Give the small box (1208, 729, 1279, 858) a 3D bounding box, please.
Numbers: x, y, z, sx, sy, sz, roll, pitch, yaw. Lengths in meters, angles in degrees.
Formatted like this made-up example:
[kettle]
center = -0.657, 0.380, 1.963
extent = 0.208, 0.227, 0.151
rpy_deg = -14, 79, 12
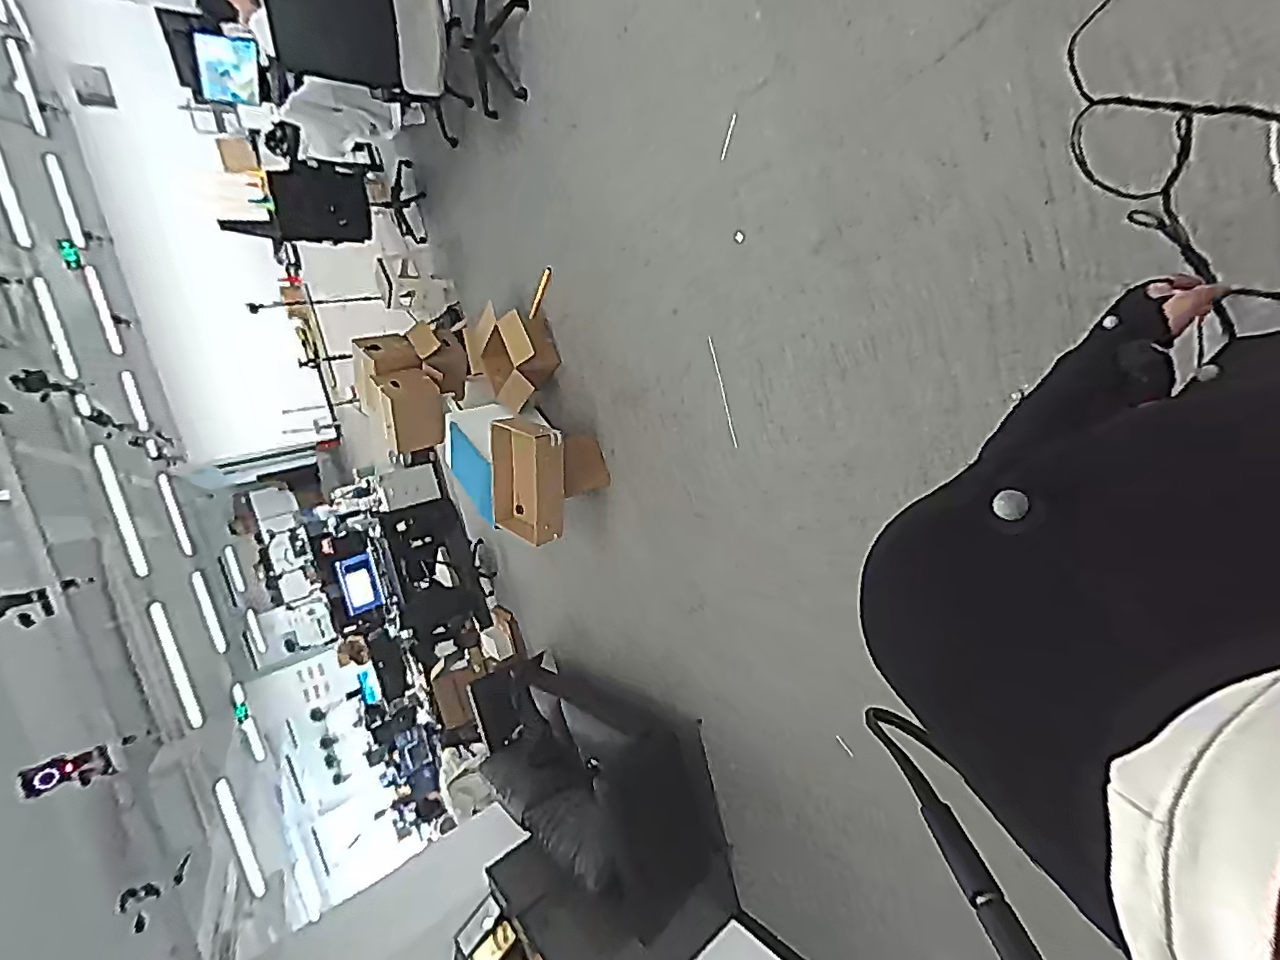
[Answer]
[small box]
center = 1.358, 0.678, 1.168
extent = 0.168, 0.176, 0.179
rpy_deg = 2, 107, 54
